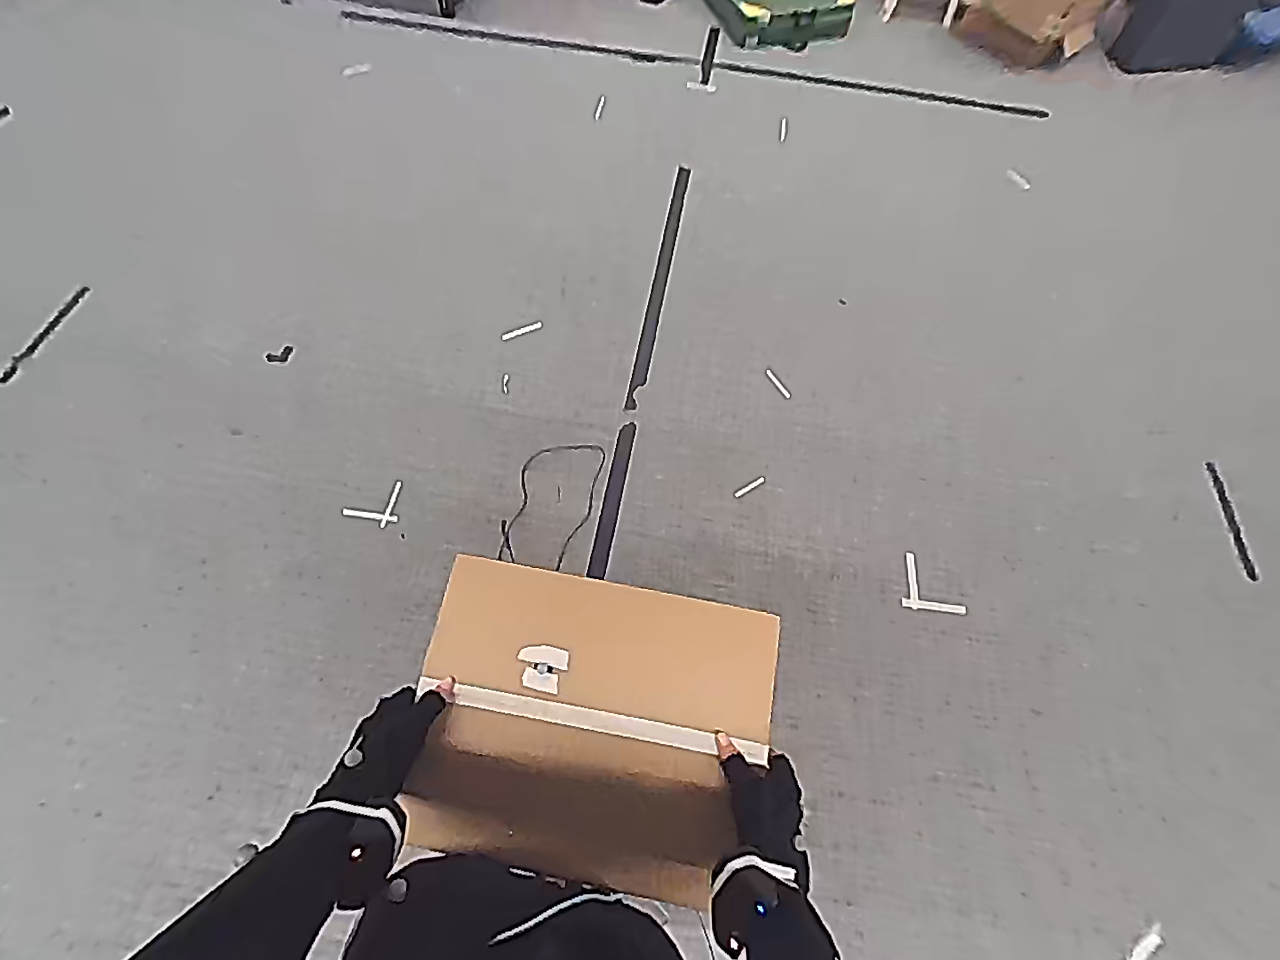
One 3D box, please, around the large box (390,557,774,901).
[{"bbox_3d":[-0.054,0.316,0.769,0.408,0.320,0.320,11,73,3],"label":"large box"}]
